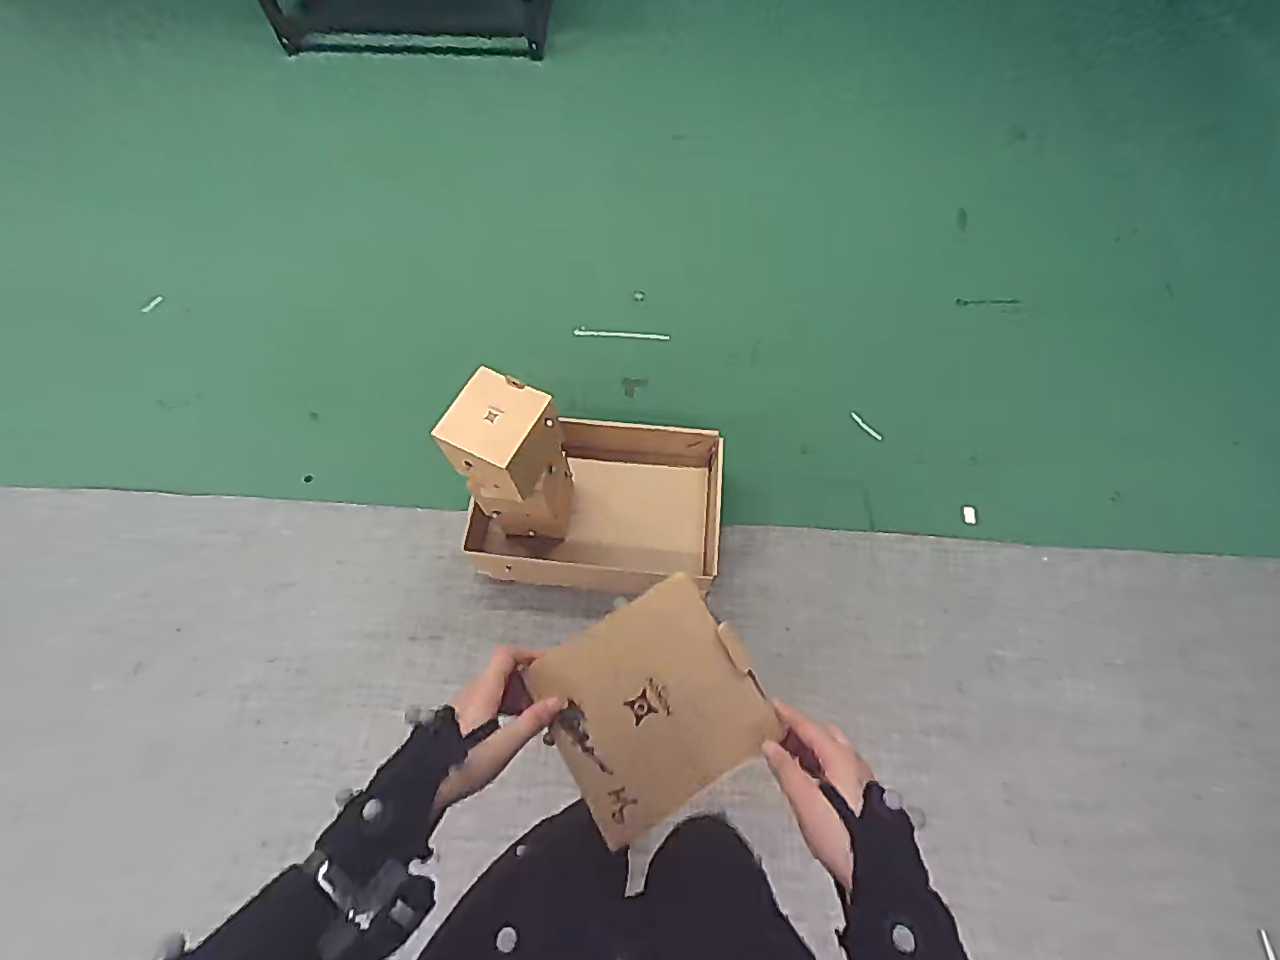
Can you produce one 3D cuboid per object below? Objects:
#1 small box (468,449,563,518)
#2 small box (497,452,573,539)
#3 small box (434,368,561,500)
[{"bbox_3d":[-0.275,-0.022,1.238,0.168,0.176,0.179,4,64,1],"label":"small box"},{"bbox_3d":[-0.268,0.038,1.391,0.168,0.176,0.179,3,65,1],"label":"small box"},{"bbox_3d":[-0.272,-0.084,1.087,0.168,0.176,0.179,24,66,10],"label":"small box"}]
